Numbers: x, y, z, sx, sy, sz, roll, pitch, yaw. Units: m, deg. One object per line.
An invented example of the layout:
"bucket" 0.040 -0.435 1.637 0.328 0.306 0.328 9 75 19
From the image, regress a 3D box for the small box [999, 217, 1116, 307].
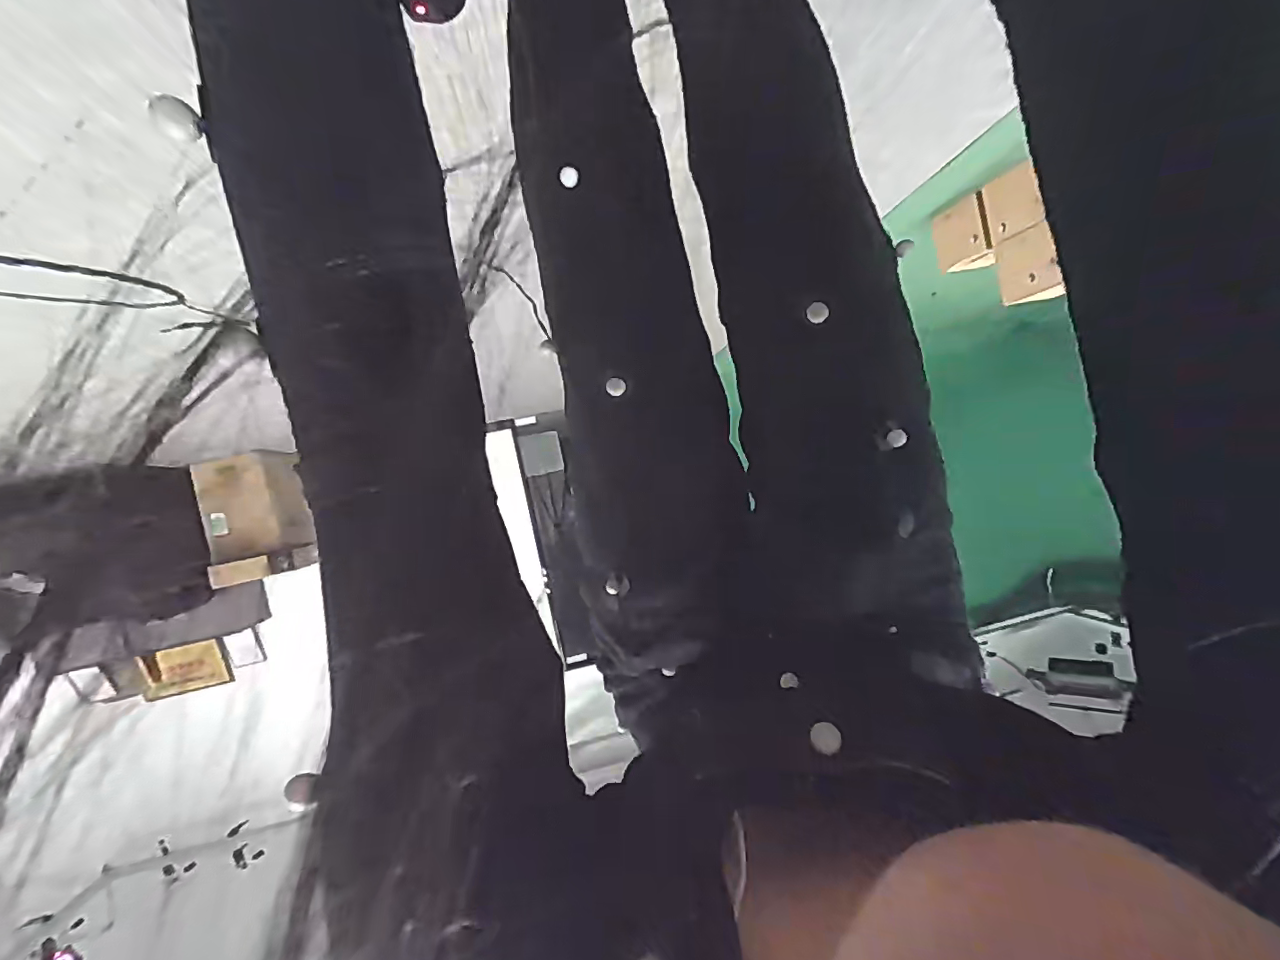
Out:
"small box" 1.087 -0.576 1.422 0.168 0.176 0.179 -12 -178 -12
